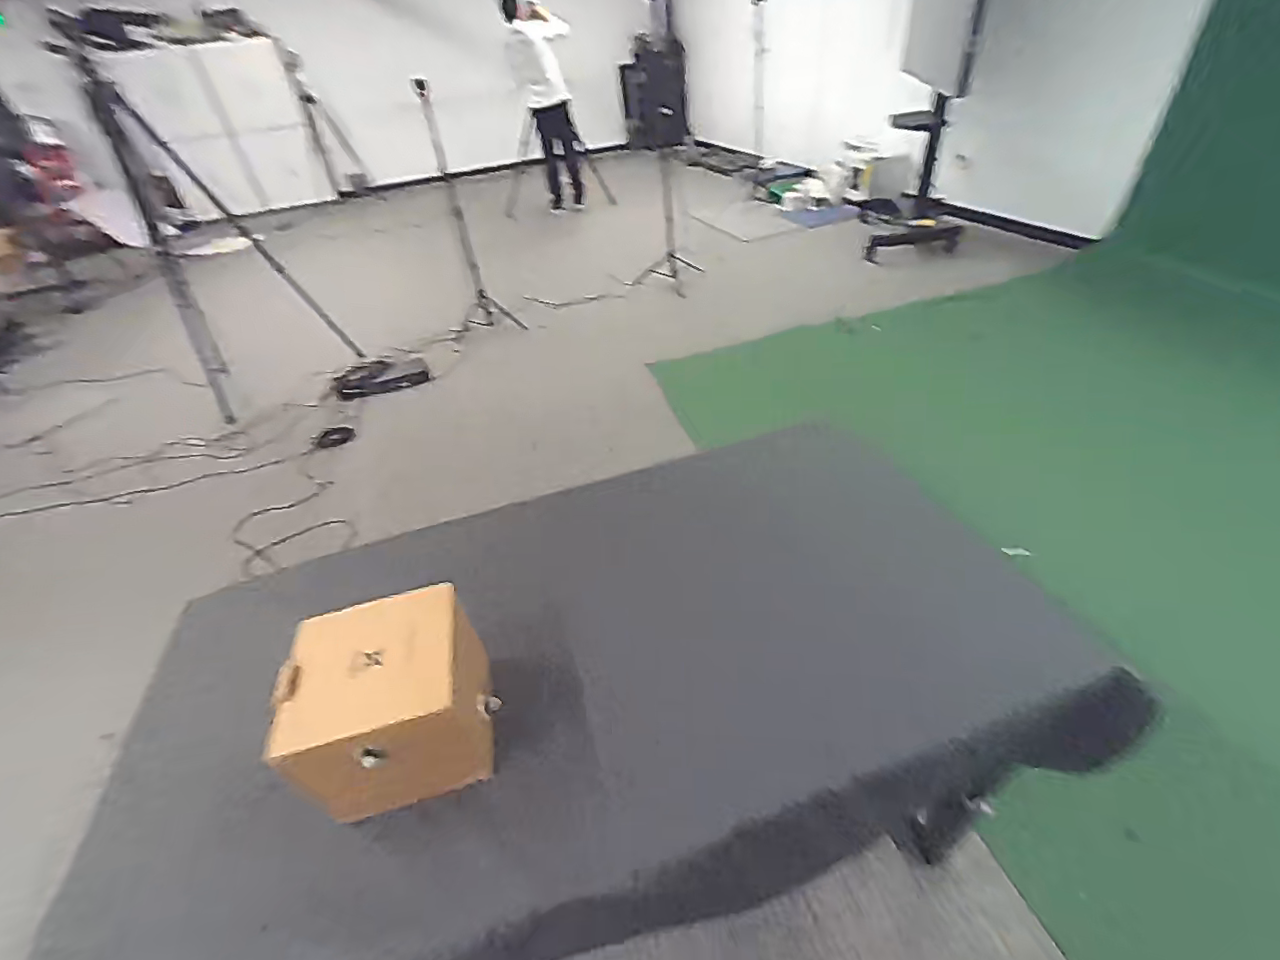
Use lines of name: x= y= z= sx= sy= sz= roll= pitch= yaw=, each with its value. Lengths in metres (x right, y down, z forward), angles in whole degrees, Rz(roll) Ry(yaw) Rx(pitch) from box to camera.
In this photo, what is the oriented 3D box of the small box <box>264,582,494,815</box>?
small box: x=-0.281 y=0.252 z=0.625 sx=0.179 sy=0.176 sz=0.168 roll=-14 pitch=40 yaw=-9
